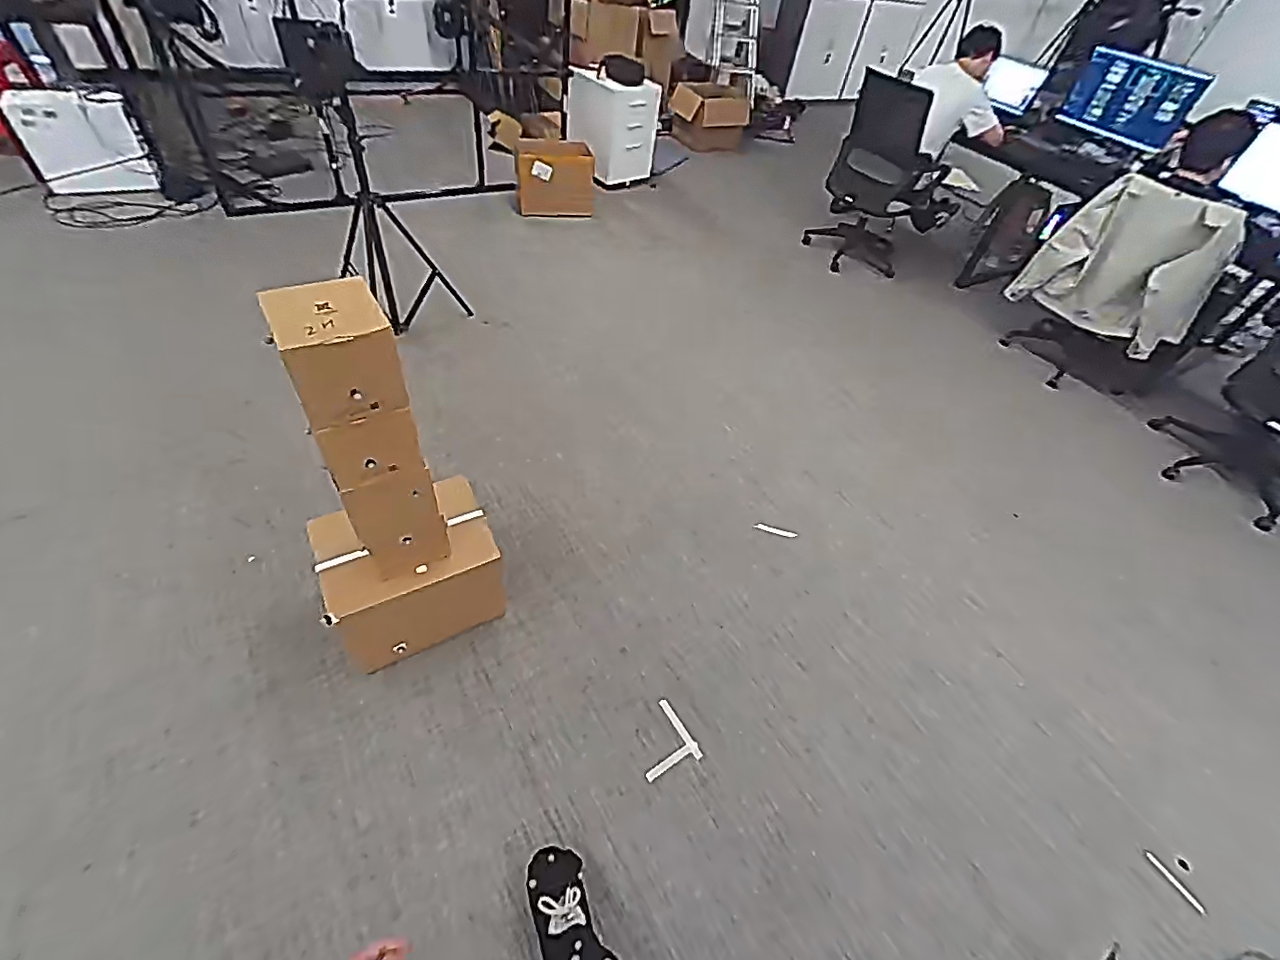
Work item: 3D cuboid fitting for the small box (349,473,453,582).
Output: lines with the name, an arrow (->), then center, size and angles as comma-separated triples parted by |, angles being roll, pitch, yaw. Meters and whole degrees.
small box -> -0.571, 0.117, 1.305 | 0.179, 0.176, 0.168 | -21, 56, -27

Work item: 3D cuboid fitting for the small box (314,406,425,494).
small box -> -0.542, -0.103, 1.065 | 0.168, 0.176, 0.179 | -21, 56, -26

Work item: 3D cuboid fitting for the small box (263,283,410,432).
small box -> -0.523, -0.214, 0.945 | 0.168, 0.176, 0.179 | -23, 57, -26
